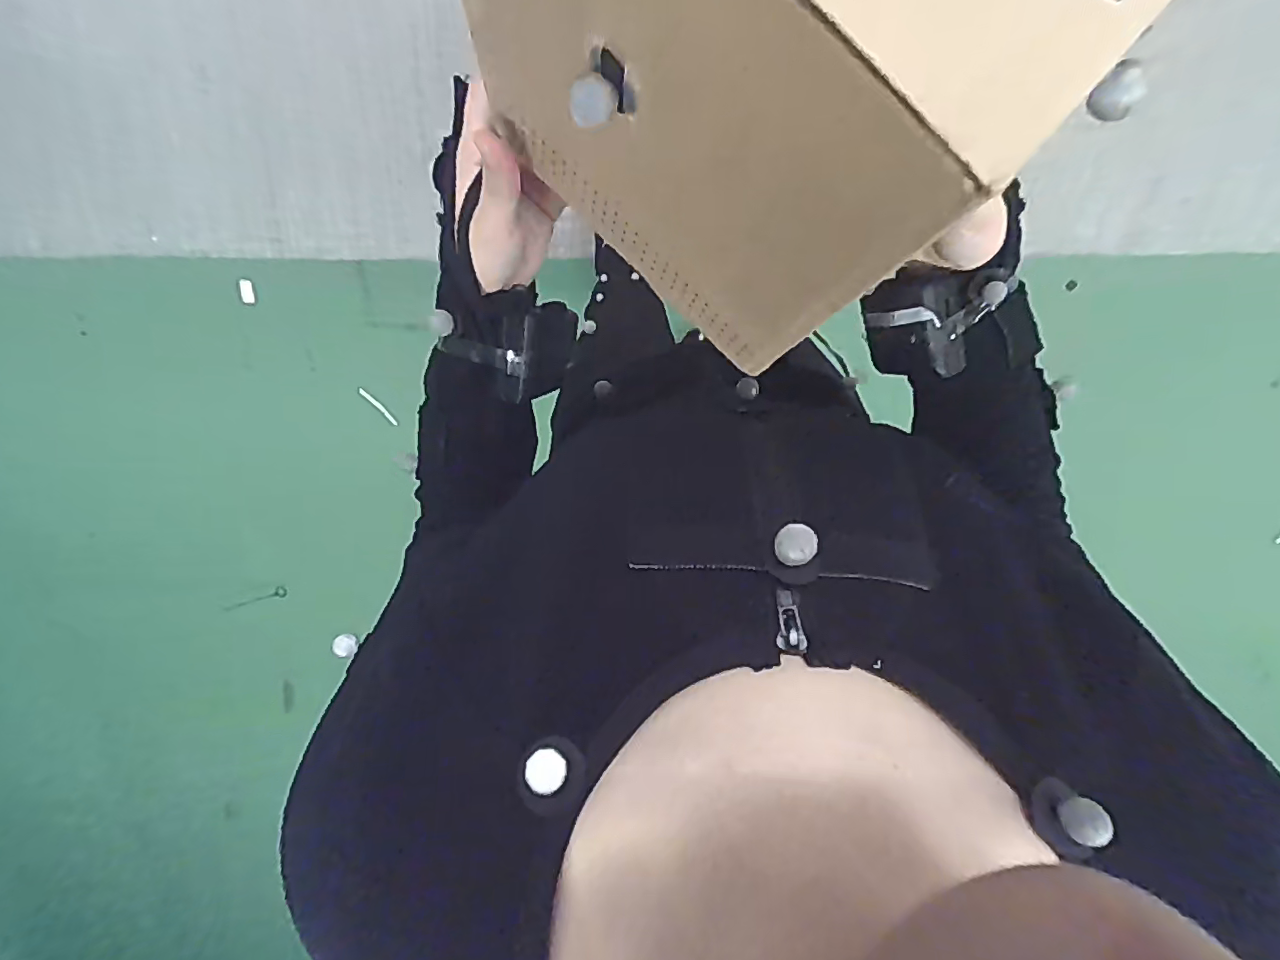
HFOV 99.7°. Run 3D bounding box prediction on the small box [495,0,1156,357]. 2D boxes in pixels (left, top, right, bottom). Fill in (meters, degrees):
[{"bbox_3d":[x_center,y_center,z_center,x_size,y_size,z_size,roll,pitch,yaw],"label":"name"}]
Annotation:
[{"bbox_3d":[0.058,-0.173,0.202,0.179,0.176,0.168,42,86,-1],"label":"small box"}]
